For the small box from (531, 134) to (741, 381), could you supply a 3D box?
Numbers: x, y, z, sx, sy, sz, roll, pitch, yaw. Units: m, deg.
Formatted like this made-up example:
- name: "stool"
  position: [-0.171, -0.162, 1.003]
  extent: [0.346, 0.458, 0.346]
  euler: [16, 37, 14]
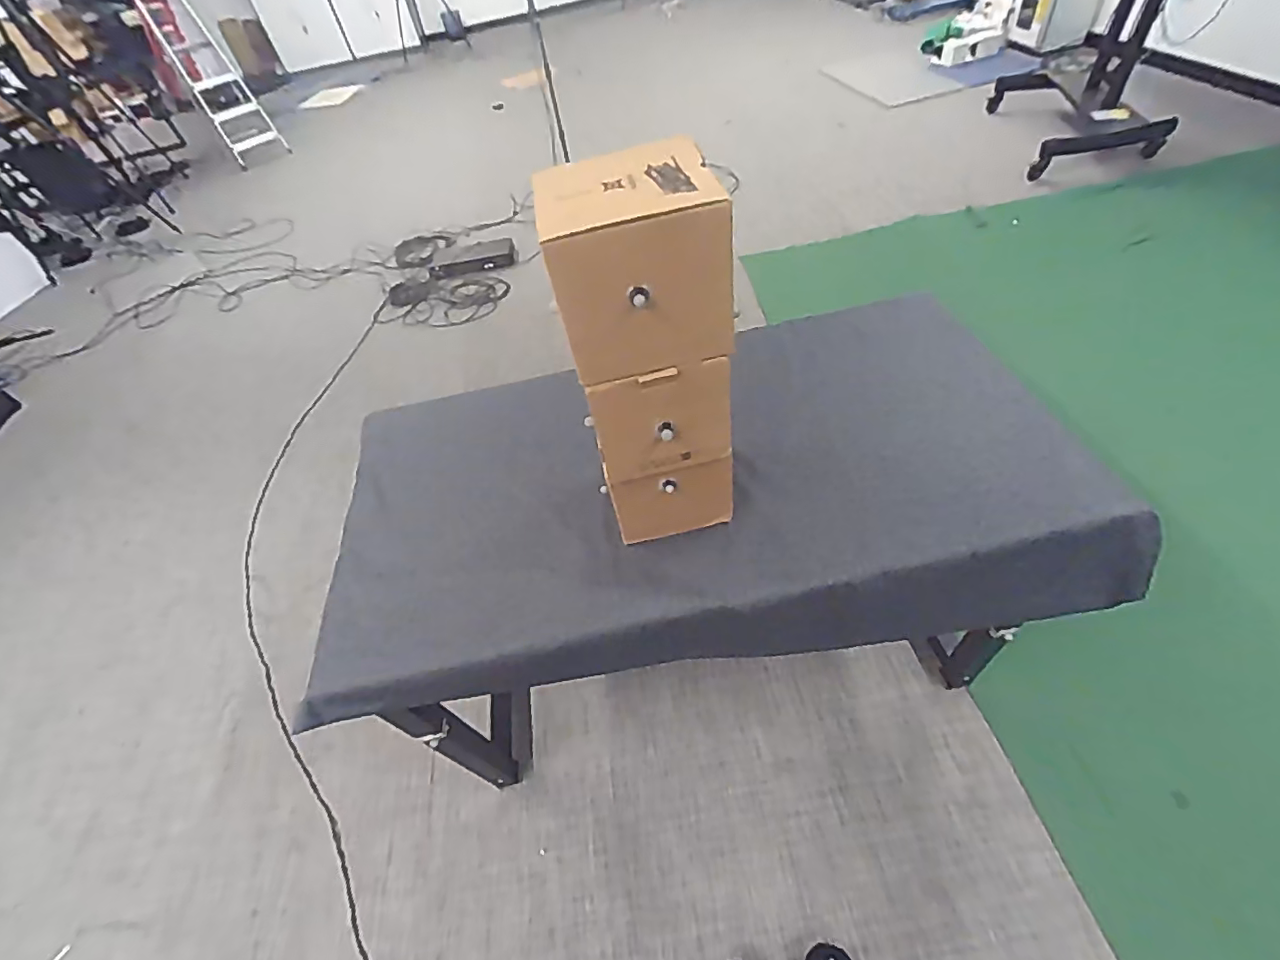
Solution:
- name: "small box"
  position: [-0.004, -0.232, 0.576]
  extent: [0.179, 0.176, 0.168]
  euler: [-14, 50, -3]

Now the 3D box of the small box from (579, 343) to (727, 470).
- name: "small box"
  position: [0.014, -0.131, 0.705]
  extent: [0.168, 0.176, 0.179]
  euler: [-13, 51, 0]

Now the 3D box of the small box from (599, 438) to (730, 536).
- name: "small box"
  position: [0.036, -0.033, 0.834]
  extent: [0.179, 0.176, 0.168]
  euler: [-12, 51, -1]
